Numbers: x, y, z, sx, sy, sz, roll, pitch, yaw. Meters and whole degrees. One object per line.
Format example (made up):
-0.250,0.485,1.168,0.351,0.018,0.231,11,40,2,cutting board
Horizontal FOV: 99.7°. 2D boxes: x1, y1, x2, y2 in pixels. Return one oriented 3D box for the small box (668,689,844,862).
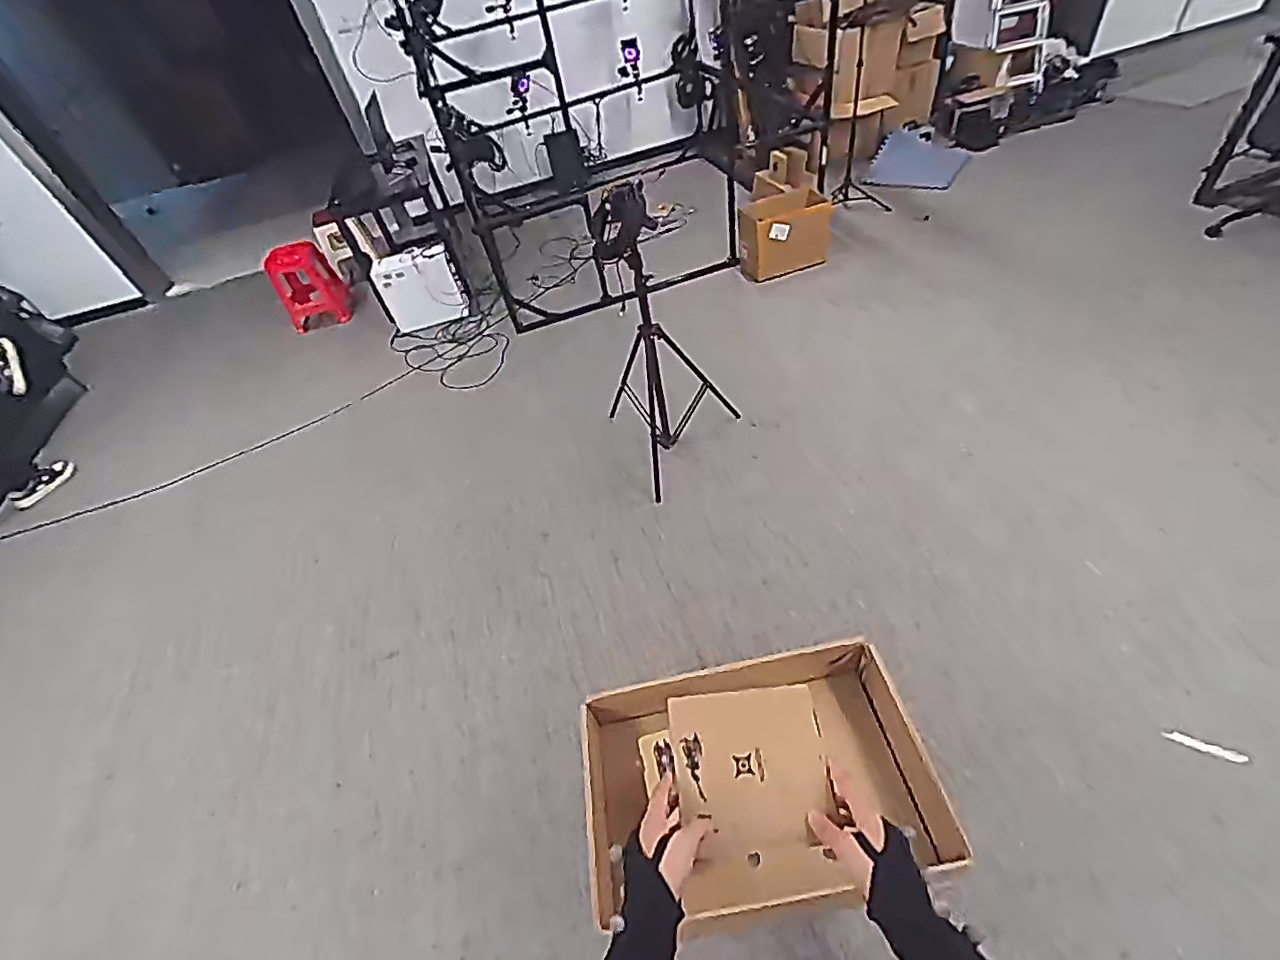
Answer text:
0.129,0.373,0.682,0.179,0.176,0.168,-5,56,0,small box
